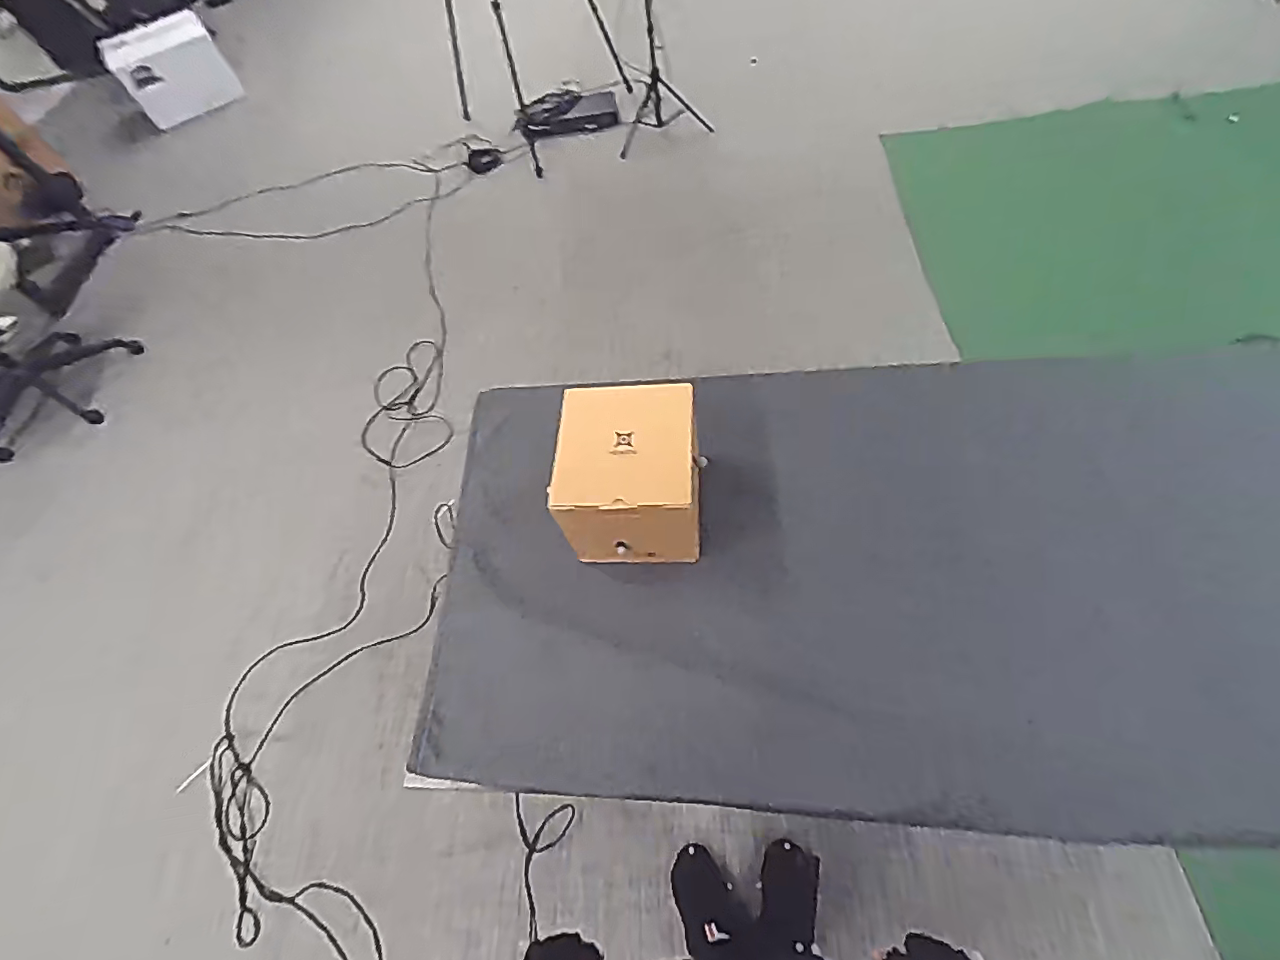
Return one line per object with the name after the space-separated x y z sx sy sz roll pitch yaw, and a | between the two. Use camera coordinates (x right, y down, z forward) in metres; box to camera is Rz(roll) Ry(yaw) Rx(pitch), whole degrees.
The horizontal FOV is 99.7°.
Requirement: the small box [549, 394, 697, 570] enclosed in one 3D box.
-0.010 0.006 0.719 0.168 0.176 0.179 -1 60 8 | small box
